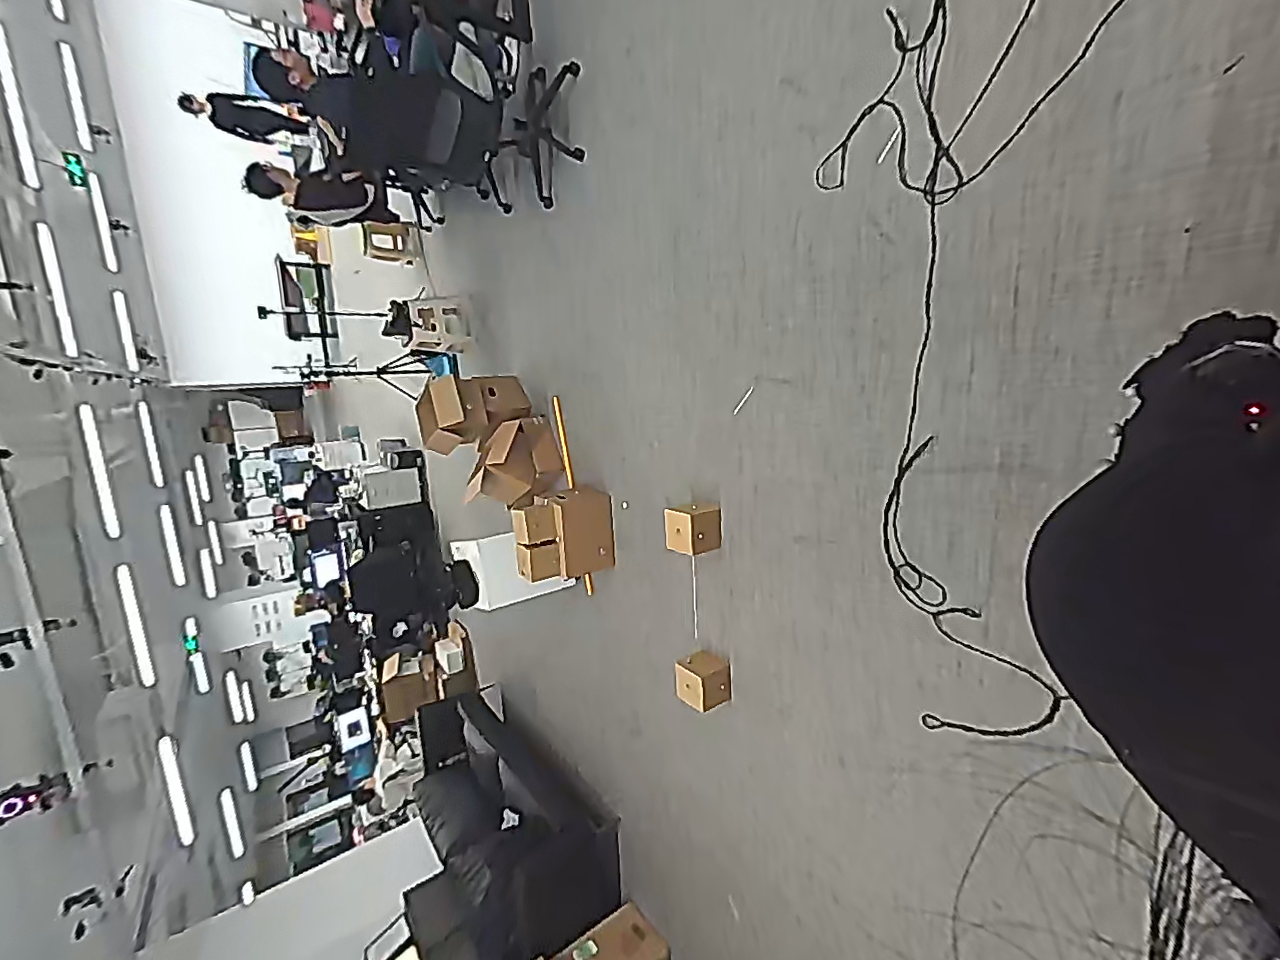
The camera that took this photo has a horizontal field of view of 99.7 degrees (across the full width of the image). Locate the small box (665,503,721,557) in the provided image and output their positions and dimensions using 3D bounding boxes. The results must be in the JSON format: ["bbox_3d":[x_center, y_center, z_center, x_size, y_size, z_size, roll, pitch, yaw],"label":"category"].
[{"bbox_3d":[0.222,0.201,2.254,0.168,0.176,0.179,10,107,53],"label":"small box"}]

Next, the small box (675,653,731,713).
[{"bbox_3d":[0.275,0.877,2.360,0.179,0.176,0.168,10,107,53],"label":"small box"}]
